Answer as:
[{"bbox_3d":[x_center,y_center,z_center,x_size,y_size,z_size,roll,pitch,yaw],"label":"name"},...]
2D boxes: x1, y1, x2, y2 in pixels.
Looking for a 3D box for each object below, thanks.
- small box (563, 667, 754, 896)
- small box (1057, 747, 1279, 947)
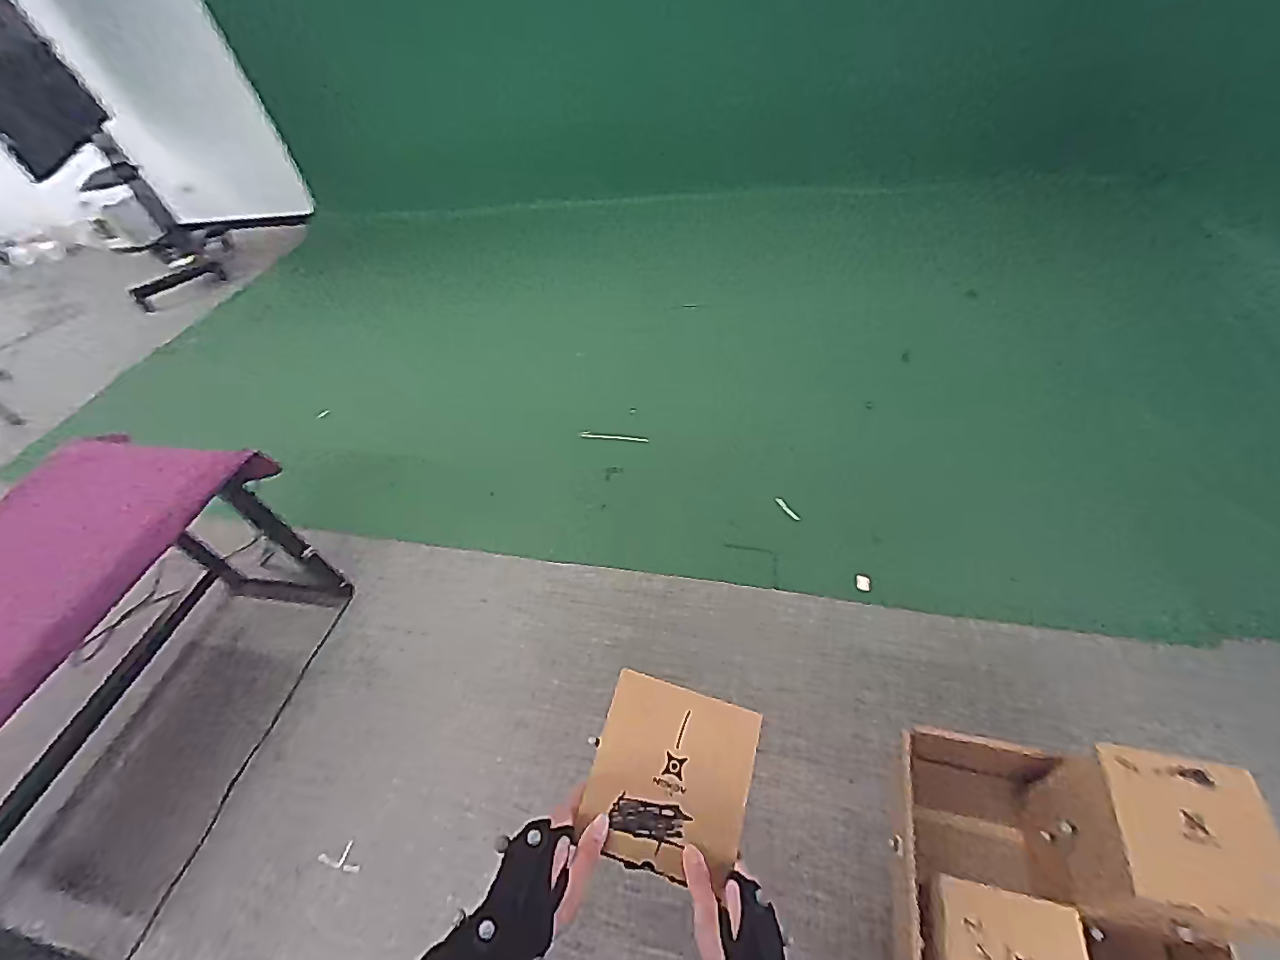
[{"bbox_3d":[0.020,0.343,0.635,0.168,0.176,0.179,16,61,3],"label":"small box"},{"bbox_3d":[0.692,0.485,0.715,0.168,0.176,0.179,6,51,17],"label":"small box"}]
